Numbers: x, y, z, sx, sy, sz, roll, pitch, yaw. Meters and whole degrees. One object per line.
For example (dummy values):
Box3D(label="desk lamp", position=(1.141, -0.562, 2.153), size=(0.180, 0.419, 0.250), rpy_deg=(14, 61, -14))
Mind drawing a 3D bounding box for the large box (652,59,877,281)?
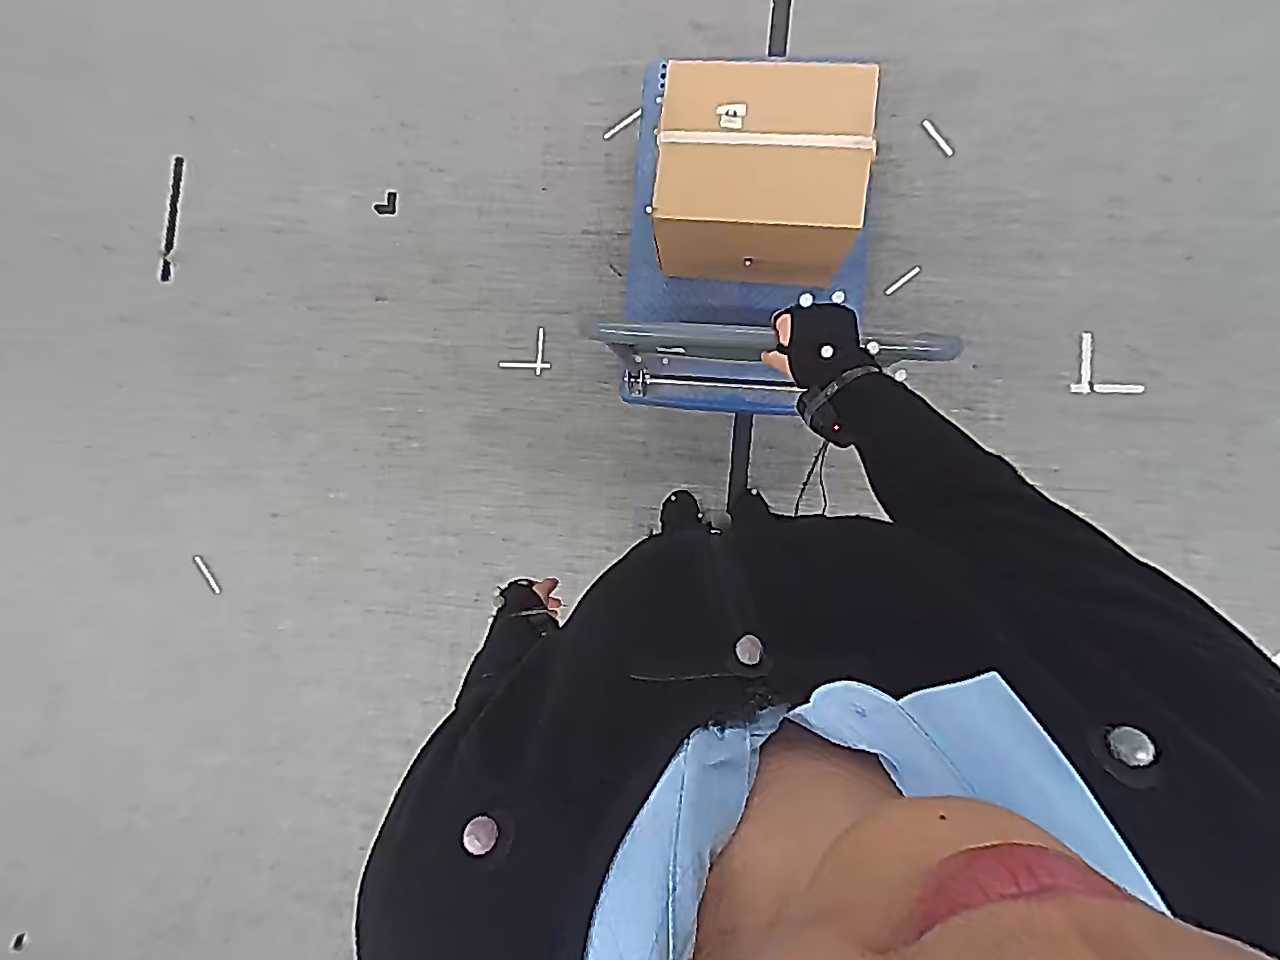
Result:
Box3D(label="large box", position=(0.253, -0.642, 1.173), size=(0.408, 0.320, 0.320), rpy_deg=(6, 89, 8))
